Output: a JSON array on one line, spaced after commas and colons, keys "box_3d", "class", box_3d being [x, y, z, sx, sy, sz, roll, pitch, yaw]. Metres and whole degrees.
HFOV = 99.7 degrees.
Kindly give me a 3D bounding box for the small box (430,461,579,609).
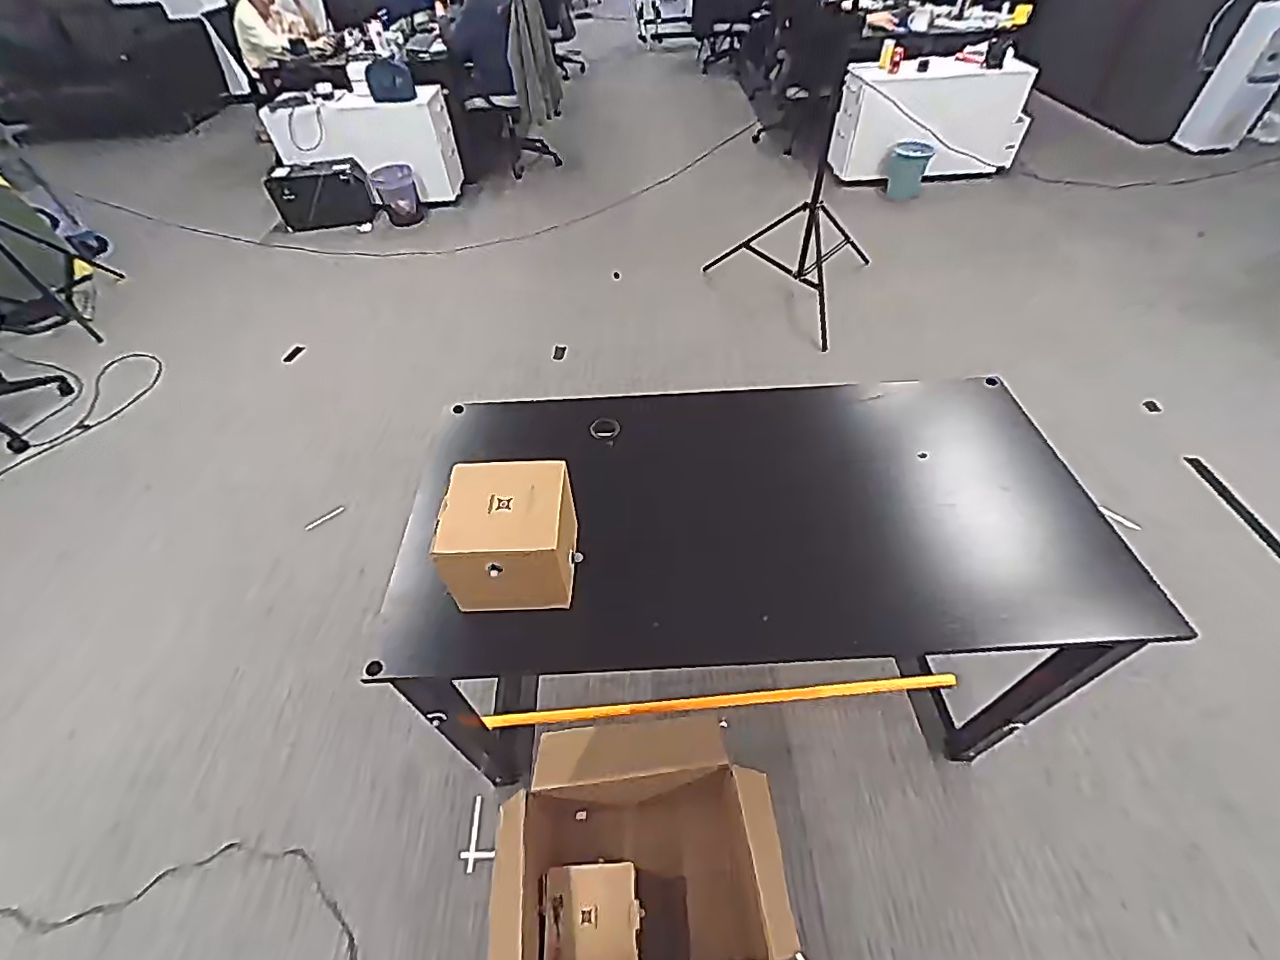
[{"box_3d": [-0.195, 0.089, 0.834, 0.179, 0.176, 0.168, -2, 49, 0], "class": "small box"}]
